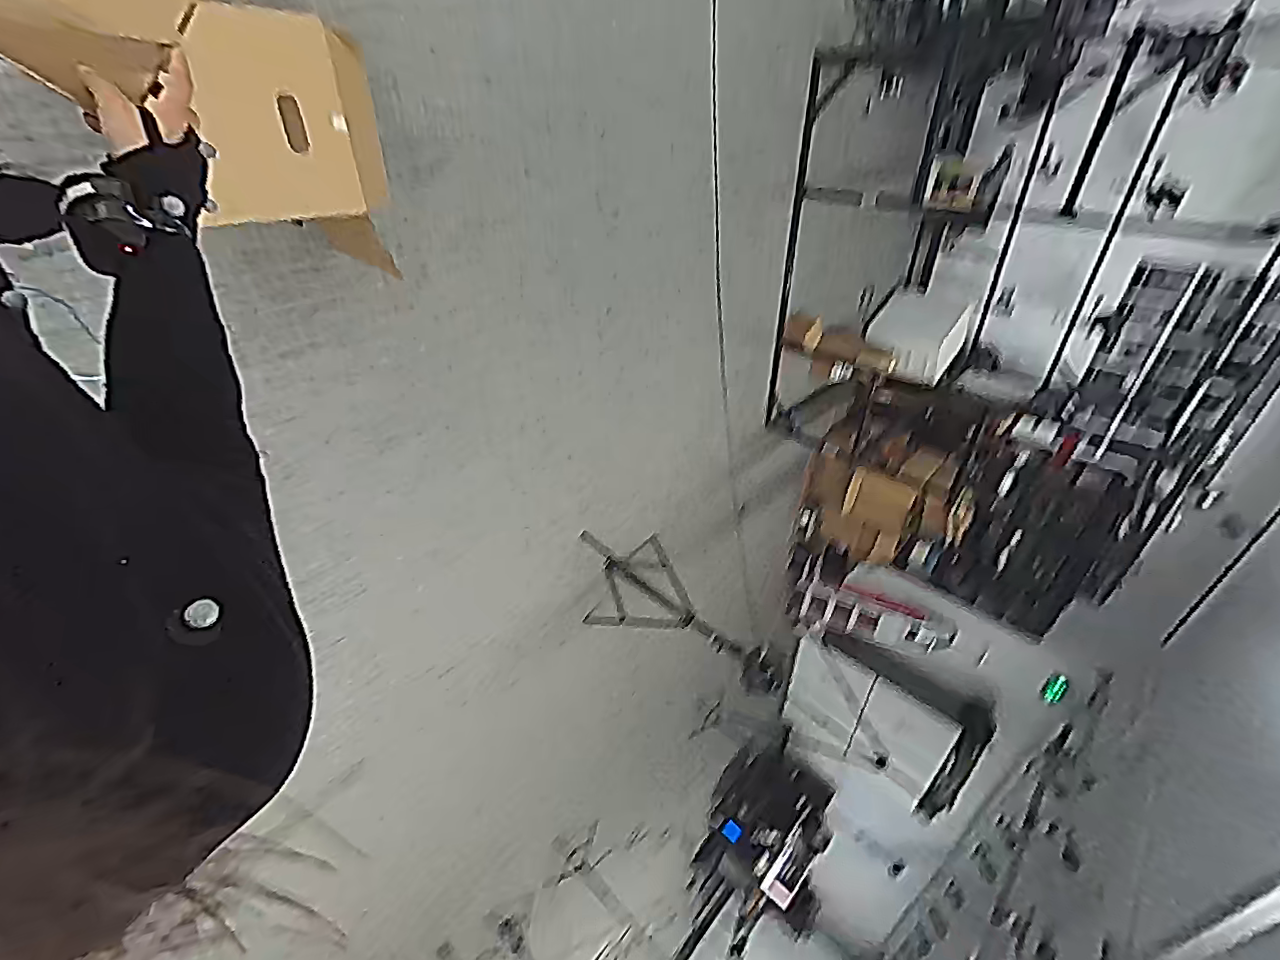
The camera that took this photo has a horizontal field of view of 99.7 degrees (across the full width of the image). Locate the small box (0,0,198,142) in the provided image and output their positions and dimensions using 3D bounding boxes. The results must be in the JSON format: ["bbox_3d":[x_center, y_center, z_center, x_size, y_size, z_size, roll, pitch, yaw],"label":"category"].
[{"bbox_3d":[-0.544,-0.444,0.475,0.168,0.176,0.179,-58,146,4],"label":"small box"}]
